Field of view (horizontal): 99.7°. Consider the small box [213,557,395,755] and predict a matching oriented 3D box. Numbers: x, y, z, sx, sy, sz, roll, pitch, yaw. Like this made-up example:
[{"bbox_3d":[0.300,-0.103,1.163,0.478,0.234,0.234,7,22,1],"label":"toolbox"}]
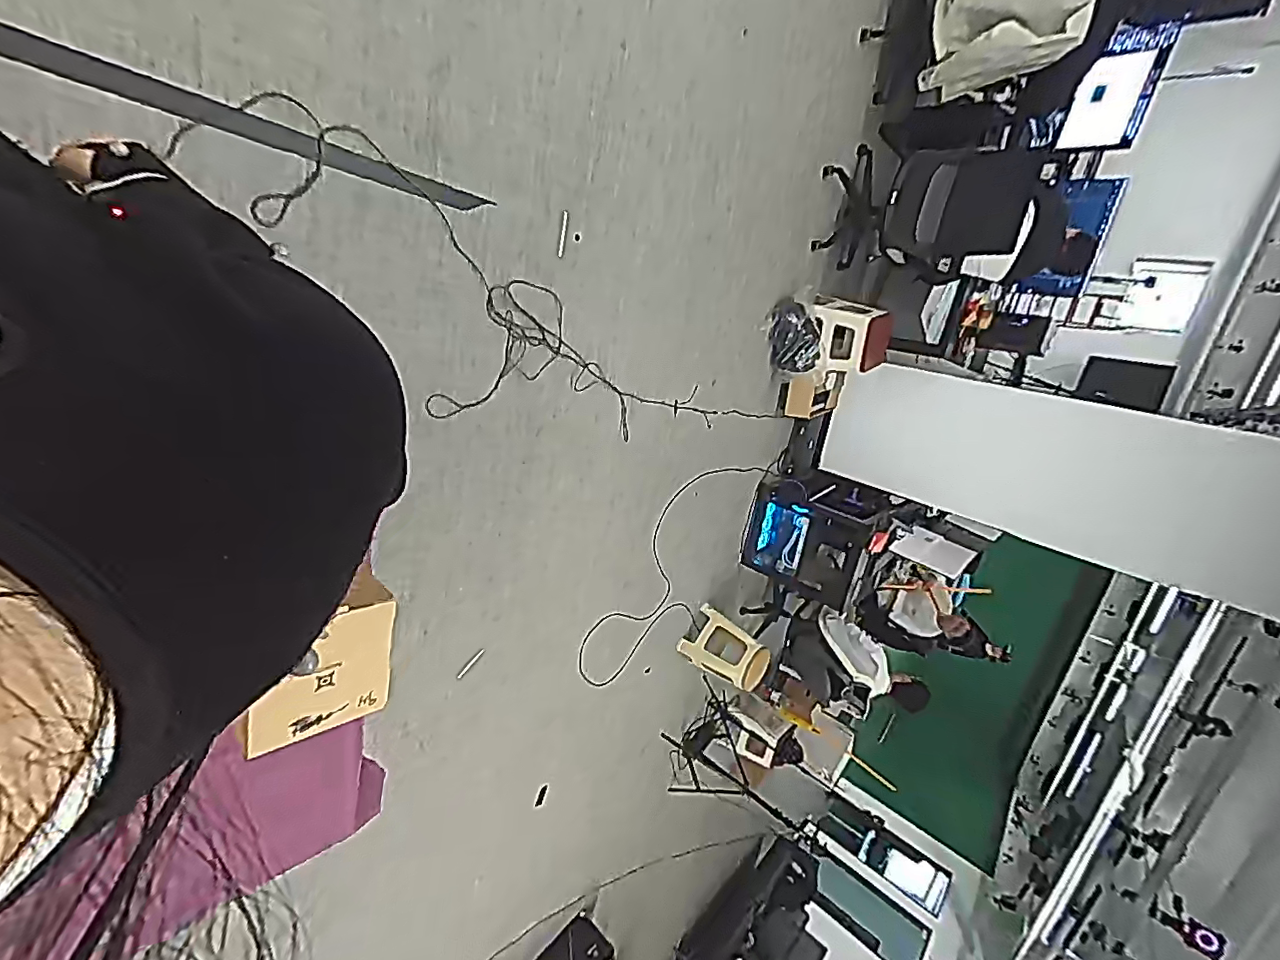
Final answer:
[{"bbox_3d":[-0.453,0.216,0.726,0.168,0.176,0.179,-6,113,-49],"label":"small box"}]
